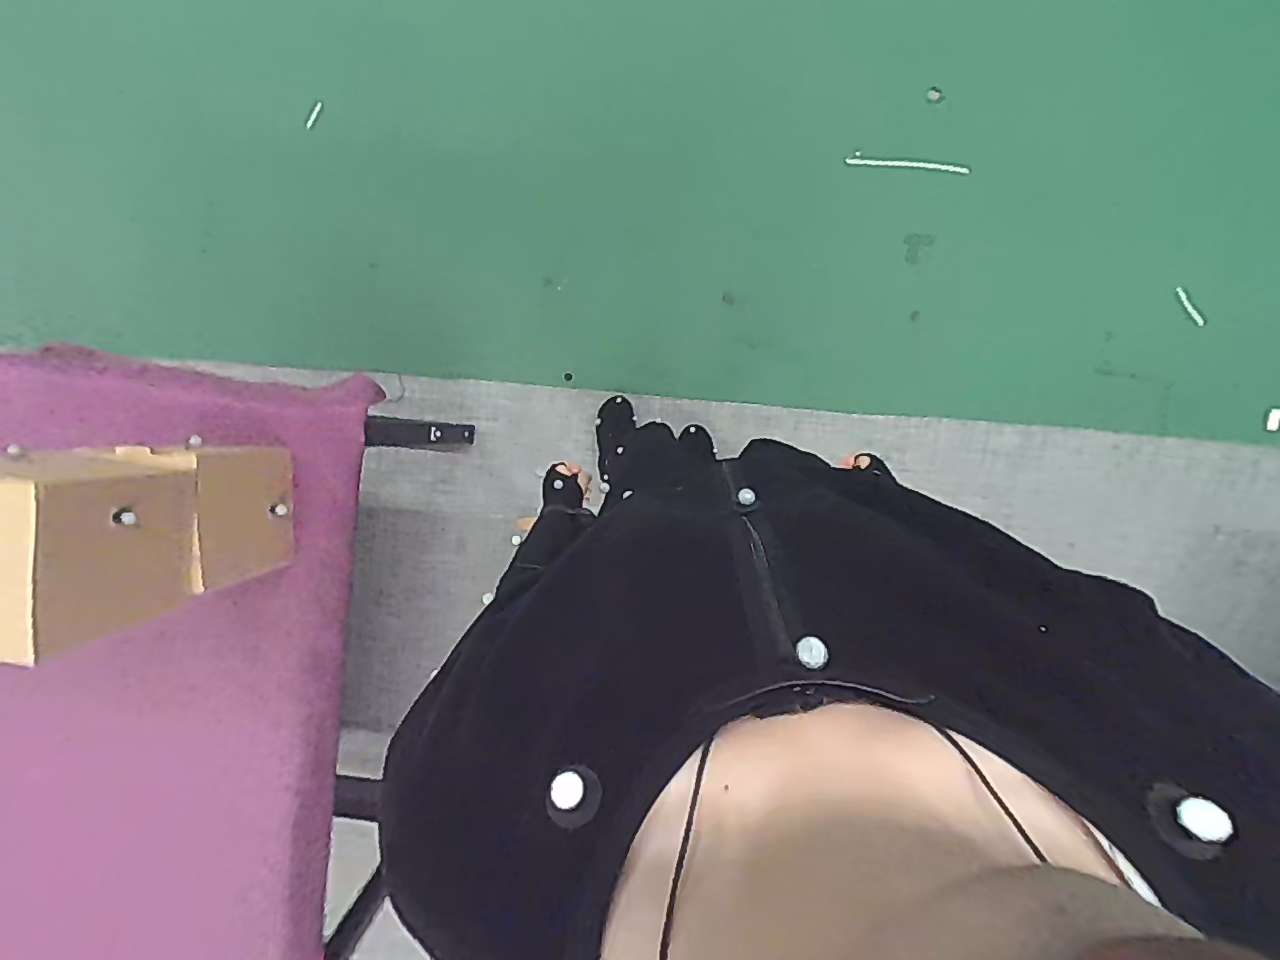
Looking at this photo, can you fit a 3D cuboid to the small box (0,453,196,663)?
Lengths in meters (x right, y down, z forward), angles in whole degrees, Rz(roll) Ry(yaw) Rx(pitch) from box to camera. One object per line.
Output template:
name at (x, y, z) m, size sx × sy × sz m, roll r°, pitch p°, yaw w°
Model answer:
small box at (-0.624, 0.068, 0.579) m, size 0.168 × 0.176 × 0.179 m, roll 8°, pitch 96°, yaw 3°

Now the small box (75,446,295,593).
small box at (-0.604, 0.044, 0.740) m, size 0.168 × 0.176 × 0.179 m, roll 2°, pitch 95°, yaw 4°
